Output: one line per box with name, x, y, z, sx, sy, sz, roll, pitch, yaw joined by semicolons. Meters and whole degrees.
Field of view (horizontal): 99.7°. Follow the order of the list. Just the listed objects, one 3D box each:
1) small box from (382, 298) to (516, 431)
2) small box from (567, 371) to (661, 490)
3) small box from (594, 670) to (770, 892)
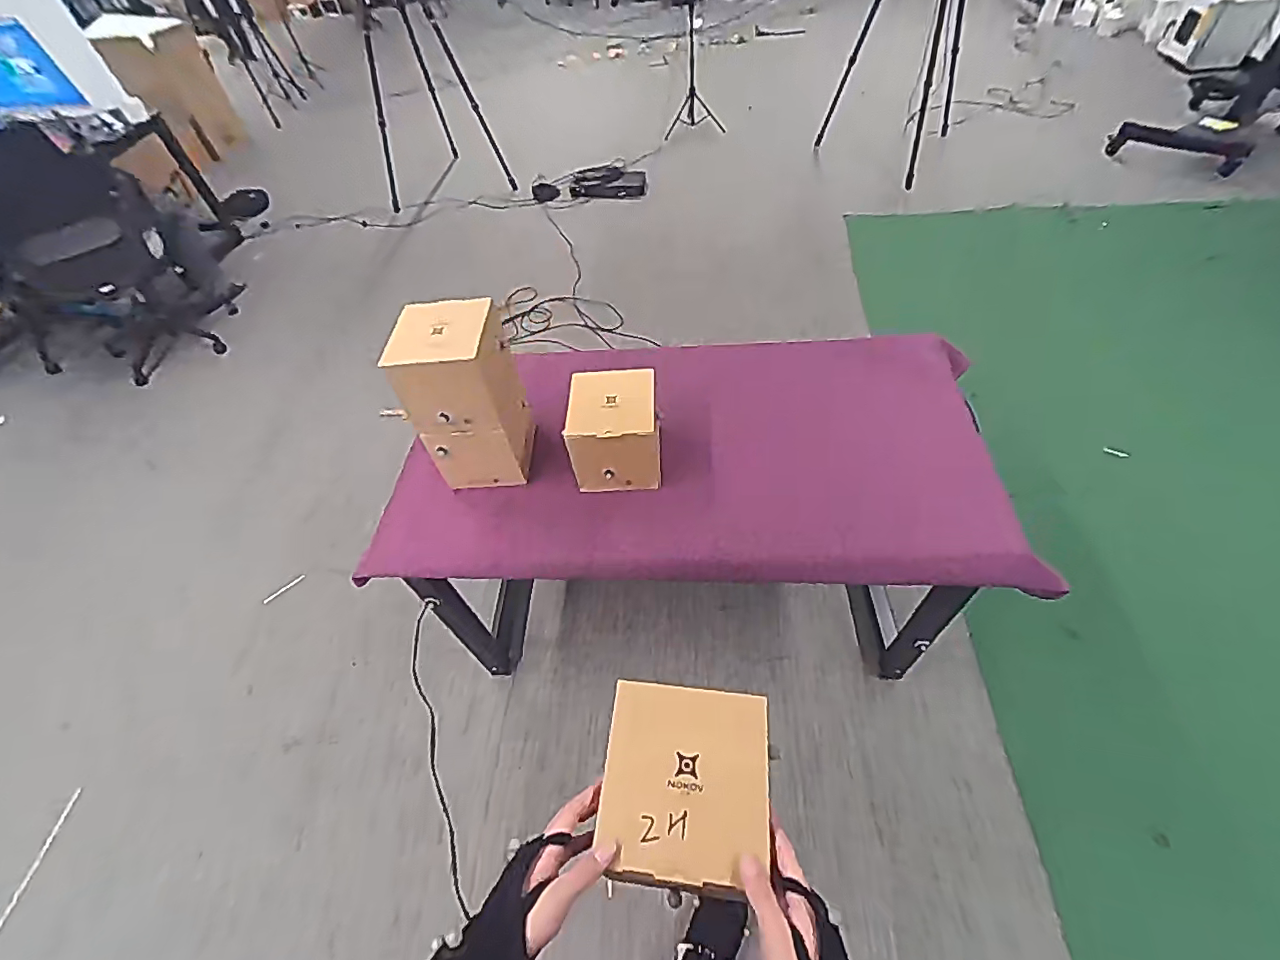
small box;-0.335;-0.210;0.992;0.168;0.176;0.179;-3;52;4
small box;-0.045;-0.097;1.087;0.168;0.176;0.179;-2;53;4
small box;0.050;0.338;0.607;0.168;0.176;0.179;5;51;7
